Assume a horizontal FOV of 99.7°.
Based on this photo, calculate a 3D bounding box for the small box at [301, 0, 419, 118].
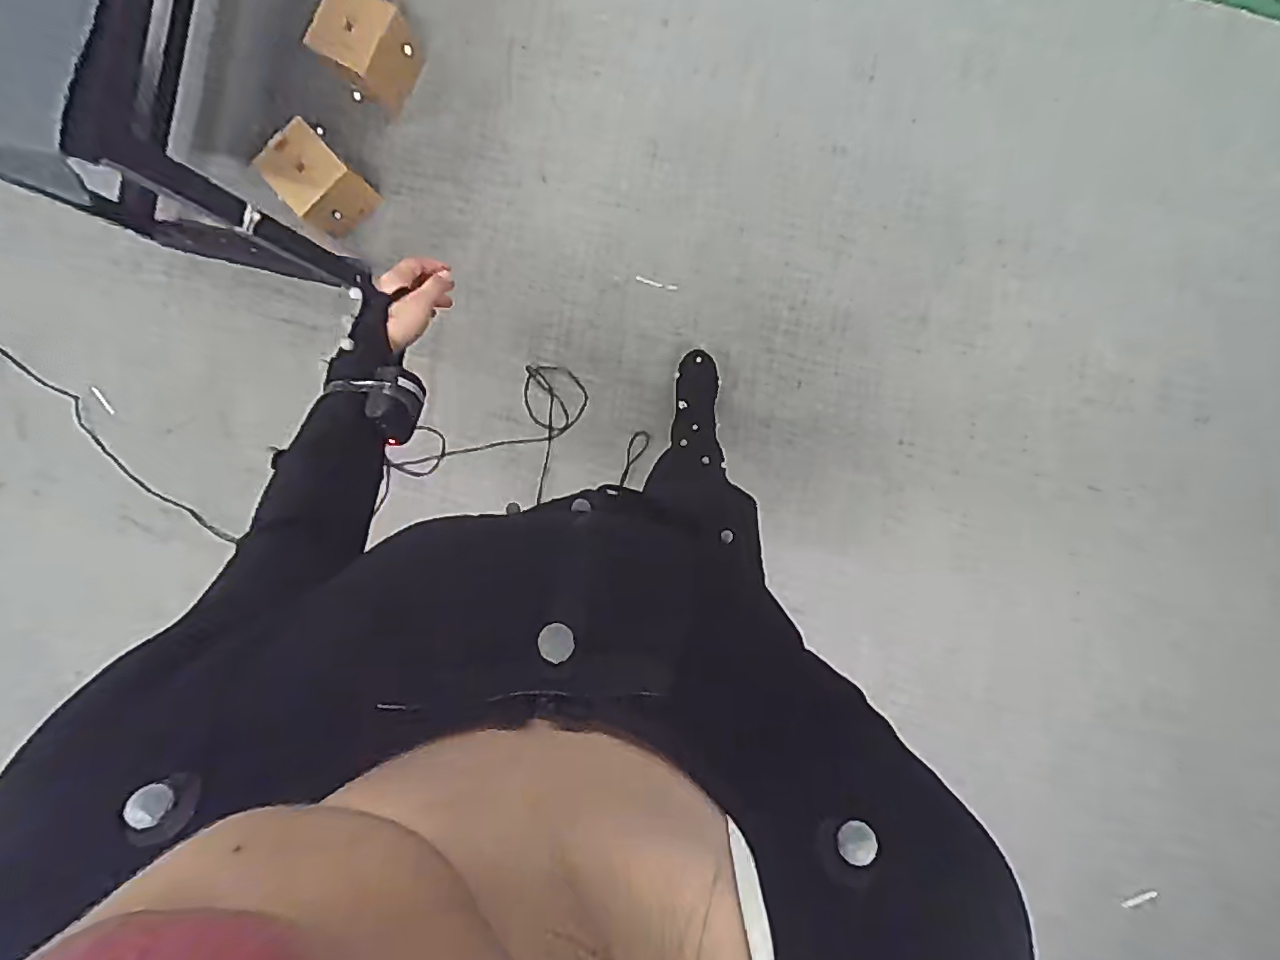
[{"bbox_3d":[-0.671,-1.046,1.321,0.168,0.176,0.179,28,95,0],"label":"small box"}]

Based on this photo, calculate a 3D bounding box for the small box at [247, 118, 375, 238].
[{"bbox_3d":[-0.805,-0.734,1.345,0.168,0.176,0.179,-43,91,4],"label":"small box"}]
